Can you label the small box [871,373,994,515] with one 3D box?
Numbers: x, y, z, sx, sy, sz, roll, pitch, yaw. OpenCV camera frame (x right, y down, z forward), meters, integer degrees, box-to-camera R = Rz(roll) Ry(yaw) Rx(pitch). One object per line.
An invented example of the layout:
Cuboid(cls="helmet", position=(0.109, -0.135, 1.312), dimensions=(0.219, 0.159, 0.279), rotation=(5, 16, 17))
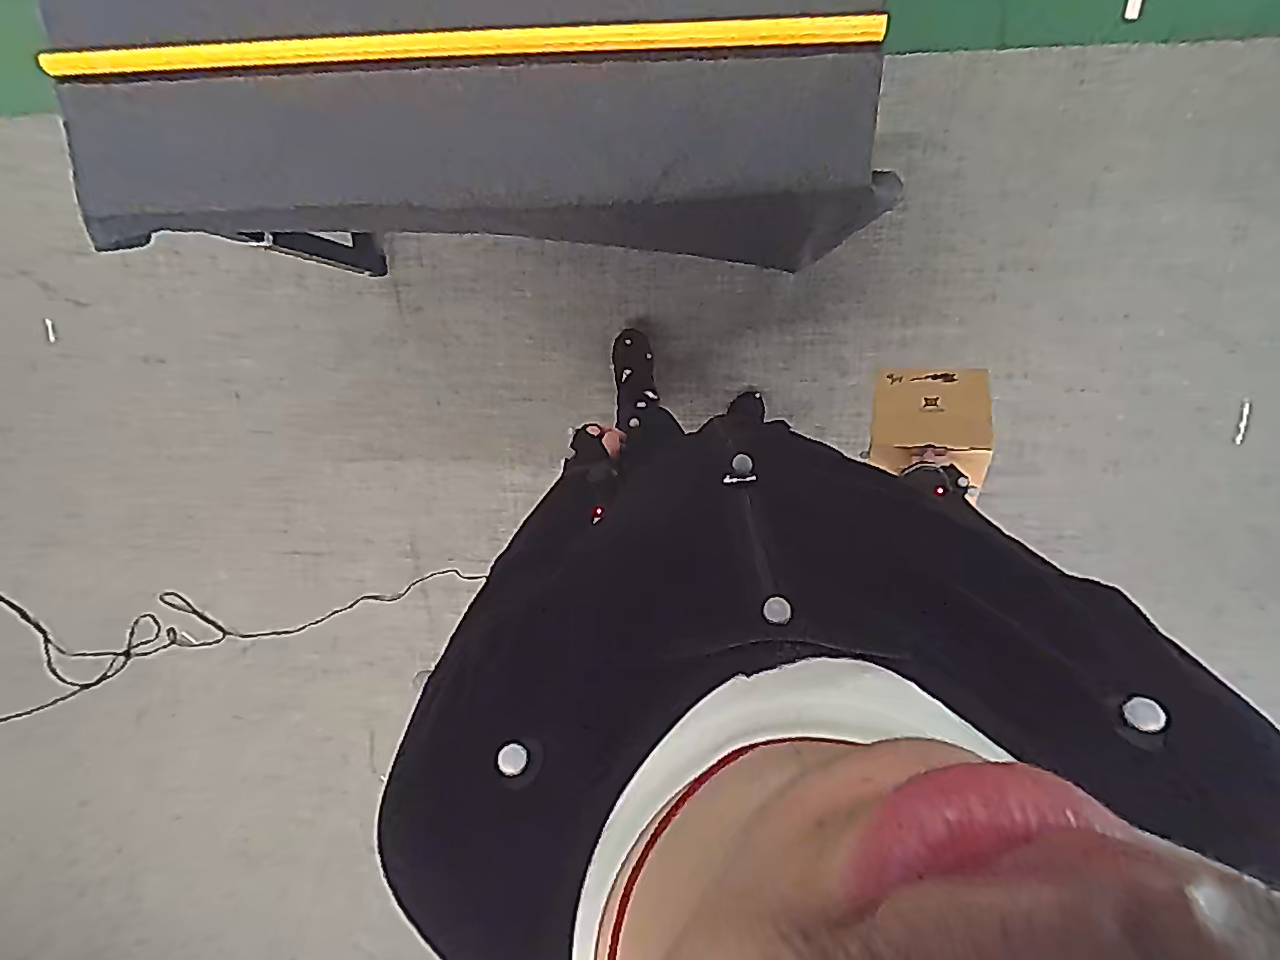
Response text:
Cuboid(cls="small box", position=(0.485, -0.054, 0.912), dimensions=(0.168, 0.179, 0.176), rotation=(0, 142, 25))
